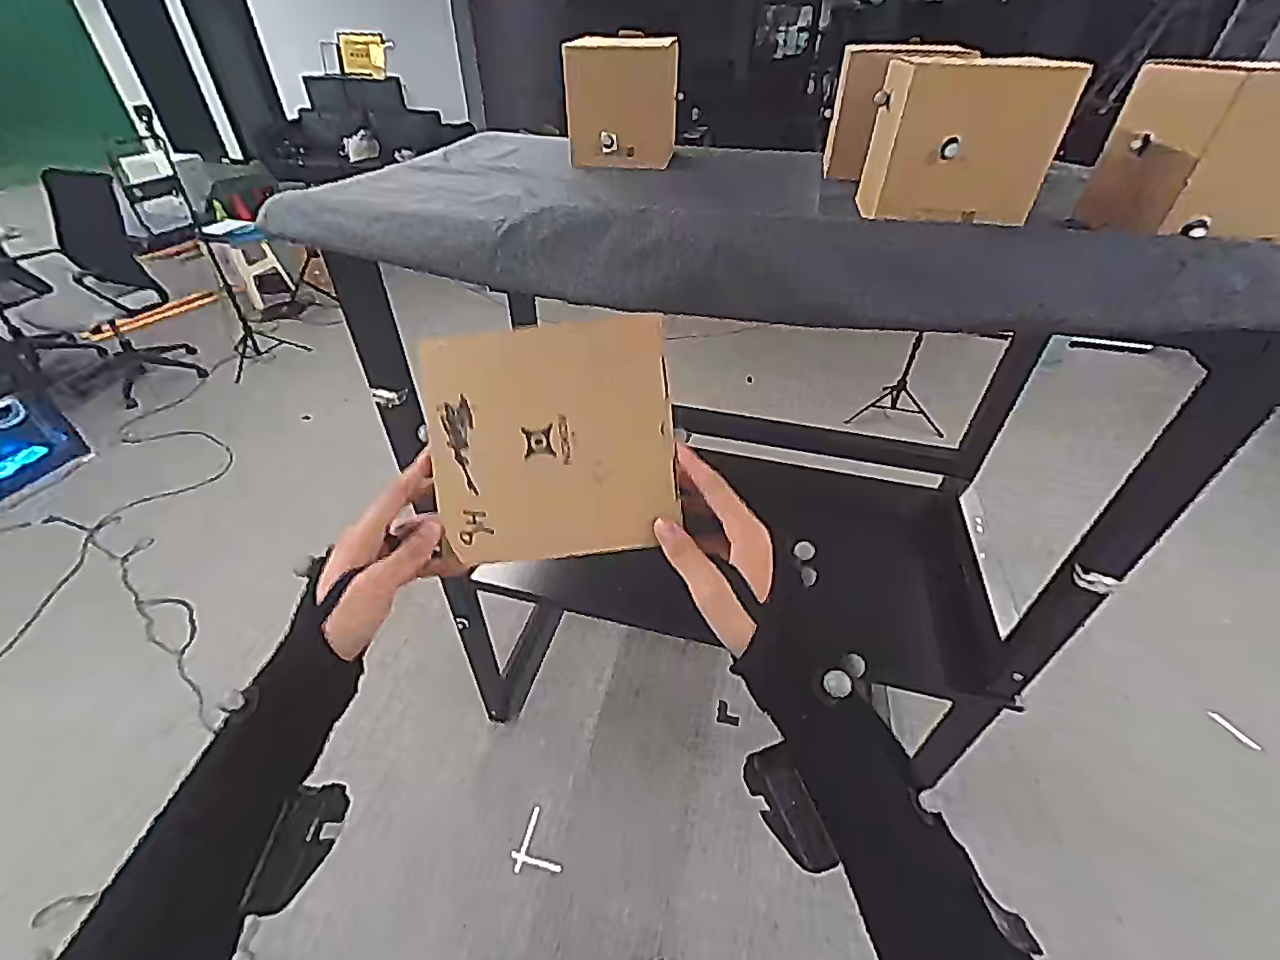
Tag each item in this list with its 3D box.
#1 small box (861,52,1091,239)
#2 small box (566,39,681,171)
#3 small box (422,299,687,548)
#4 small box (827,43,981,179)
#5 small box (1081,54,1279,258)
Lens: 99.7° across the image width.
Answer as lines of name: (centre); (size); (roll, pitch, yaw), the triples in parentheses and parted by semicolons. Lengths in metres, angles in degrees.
small box: (0.373, -0.398, 0.643); (0.168, 0.176, 0.179); (8, 40, 9)
small box: (-0.022, -0.644, 0.927); (0.168, 0.176, 0.179); (5, 41, 7)
small box: (-0.061, -0.042, 0.462); (0.179, 0.168, 0.176); (-6, 1, 0)
small box: (0.403, -0.585, 0.861); (0.179, 0.176, 0.168); (10, 42, 11)
small box: (0.638, -0.350, 0.584); (0.168, 0.176, 0.179); (6, 39, 7)
